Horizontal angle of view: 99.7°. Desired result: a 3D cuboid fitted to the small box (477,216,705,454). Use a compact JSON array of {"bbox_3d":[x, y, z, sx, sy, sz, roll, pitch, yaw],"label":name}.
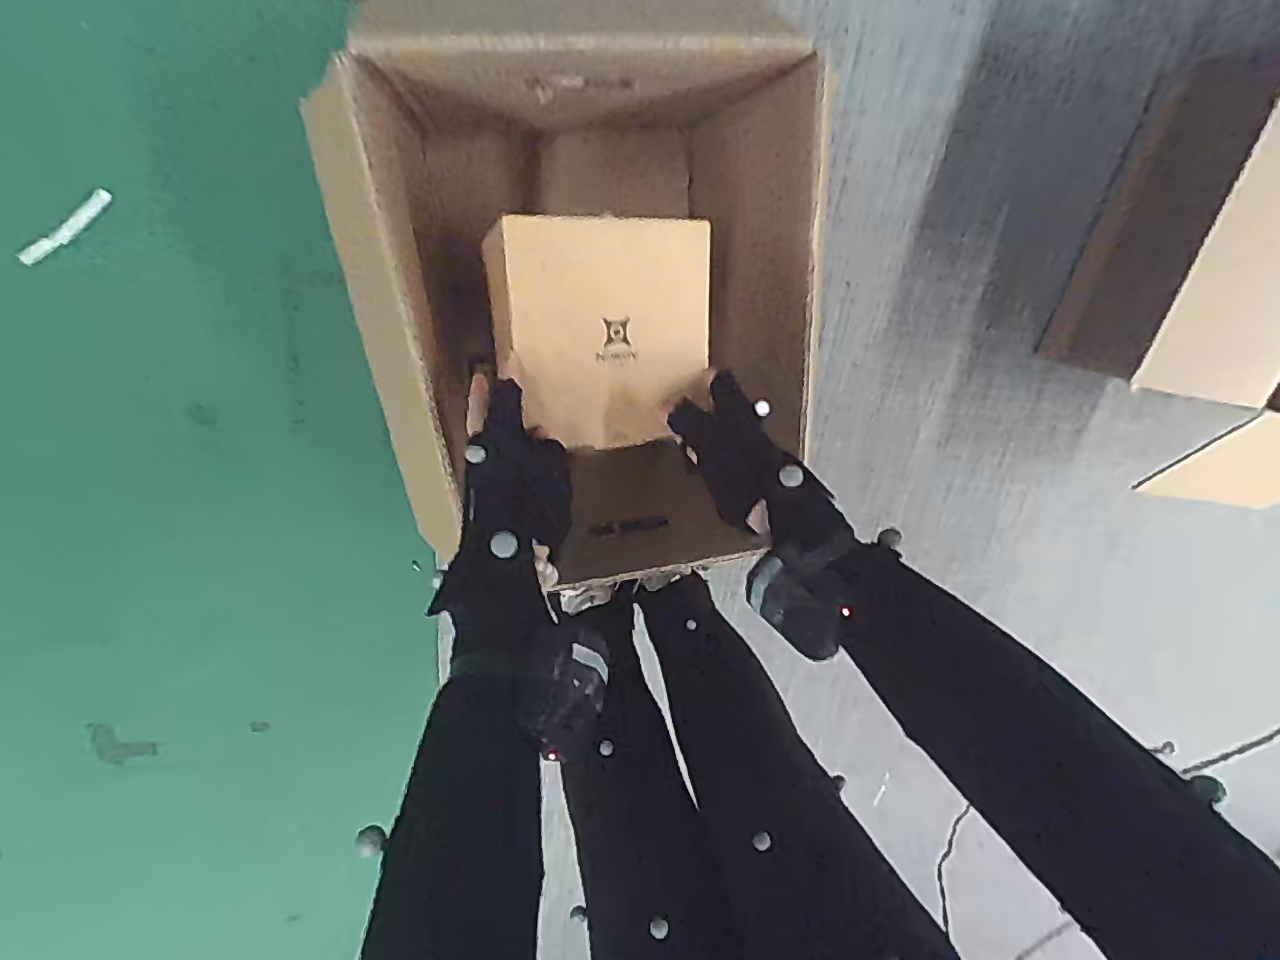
[{"bbox_3d":[-0.051,-0.136,0.501,0.168,0.176,0.179,-9,110,-19],"label":"small box"}]
